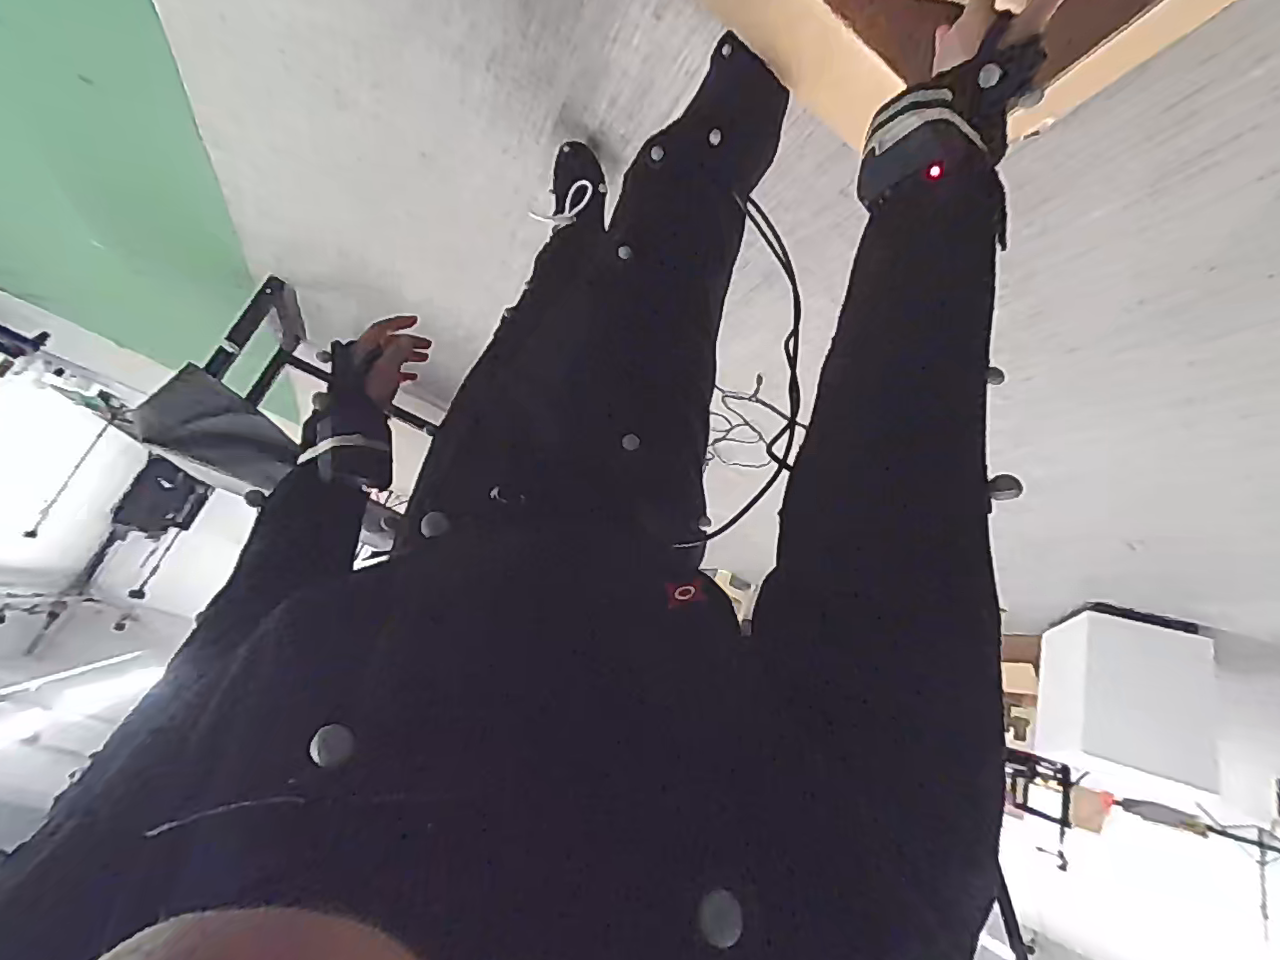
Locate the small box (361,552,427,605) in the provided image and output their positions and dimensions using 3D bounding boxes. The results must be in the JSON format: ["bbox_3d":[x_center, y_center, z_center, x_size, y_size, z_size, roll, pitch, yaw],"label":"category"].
[{"bbox_3d":[-0.996,0.396,2.191,0.179,0.176,0.168,30,157,-26],"label":"small box"}]
